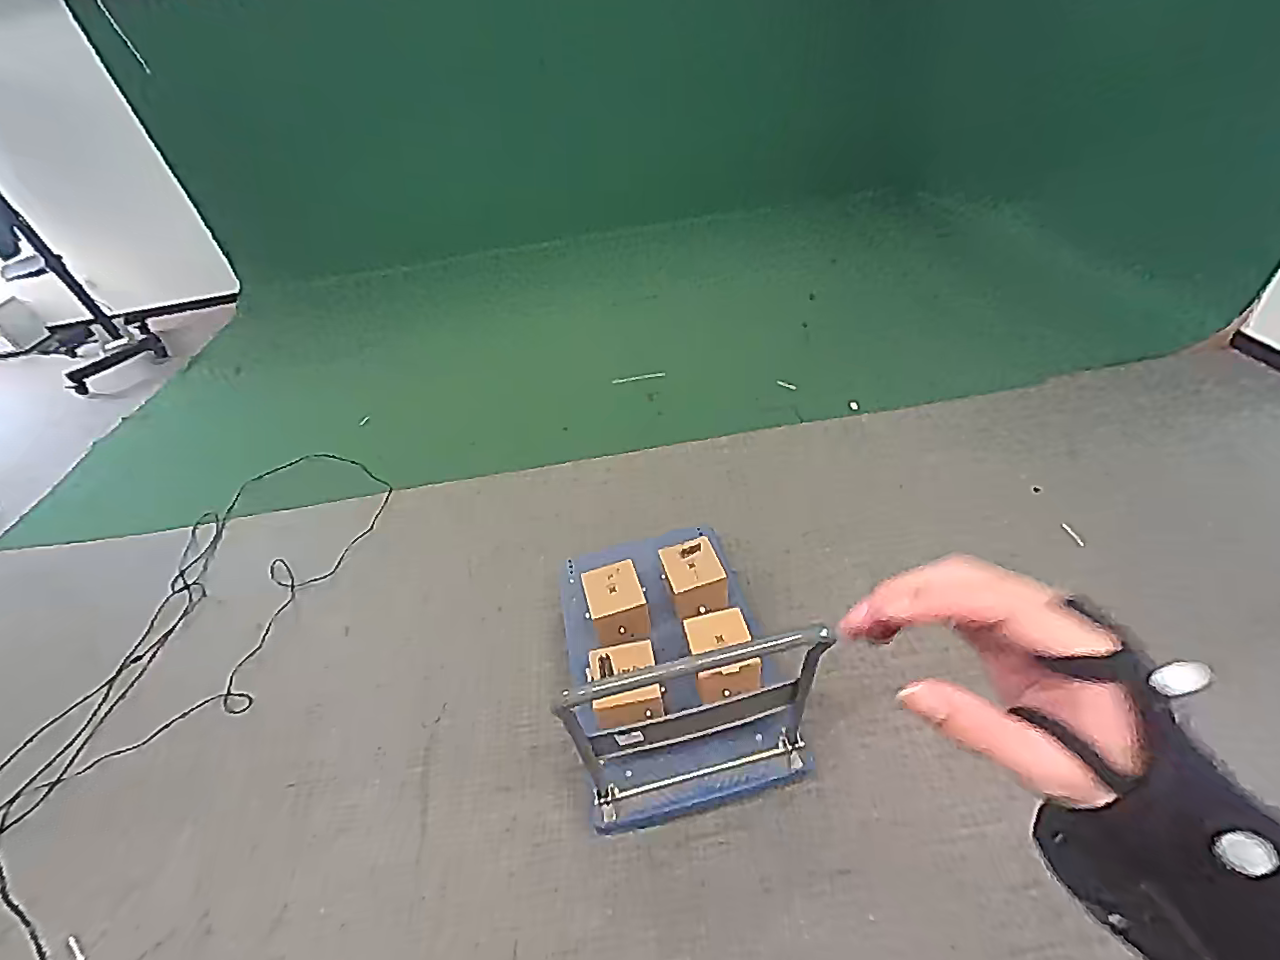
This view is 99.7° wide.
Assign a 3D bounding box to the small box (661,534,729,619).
[{"bbox_3d":[0.171,0.305,1.698,0.168,0.176,0.179,-16,44,-6],"label":"small box"}]

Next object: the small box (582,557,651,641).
[{"bbox_3d":[-0.069,0.374,1.669,0.168,0.176,0.179,-15,43,-7],"label":"small box"}]

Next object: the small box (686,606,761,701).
[{"bbox_3d":[0.227,0.482,1.503,0.168,0.176,0.179,-12,43,-3],"label":"small box"}]
